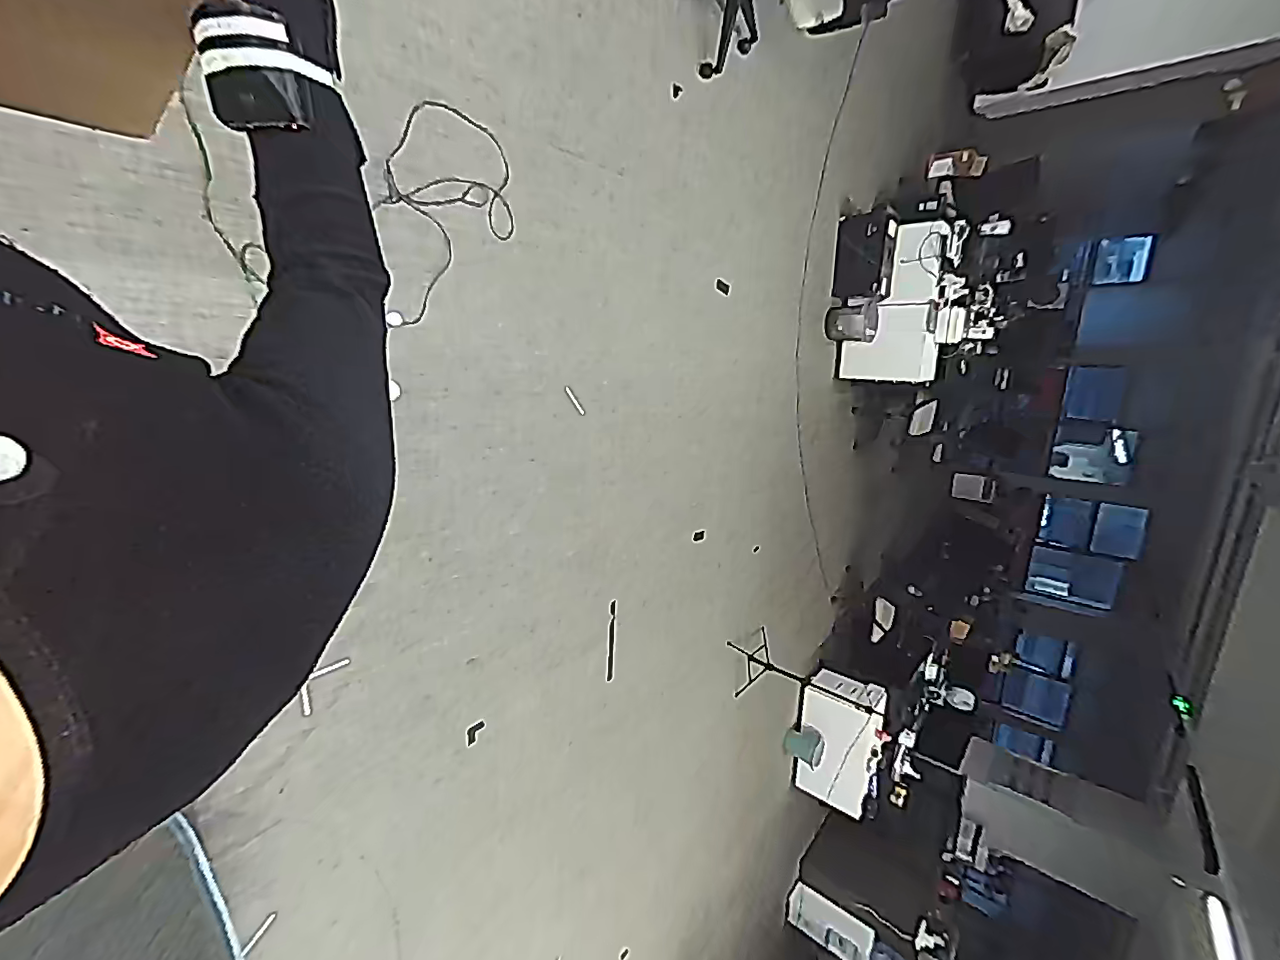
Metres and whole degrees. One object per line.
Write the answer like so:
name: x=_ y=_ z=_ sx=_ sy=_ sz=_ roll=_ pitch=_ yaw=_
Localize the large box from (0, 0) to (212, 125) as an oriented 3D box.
large box: x=-0.499 y=-0.443 z=0.256 sx=0.408 sy=0.320 sz=0.320 roll=-15 pitch=106 yaw=-49
